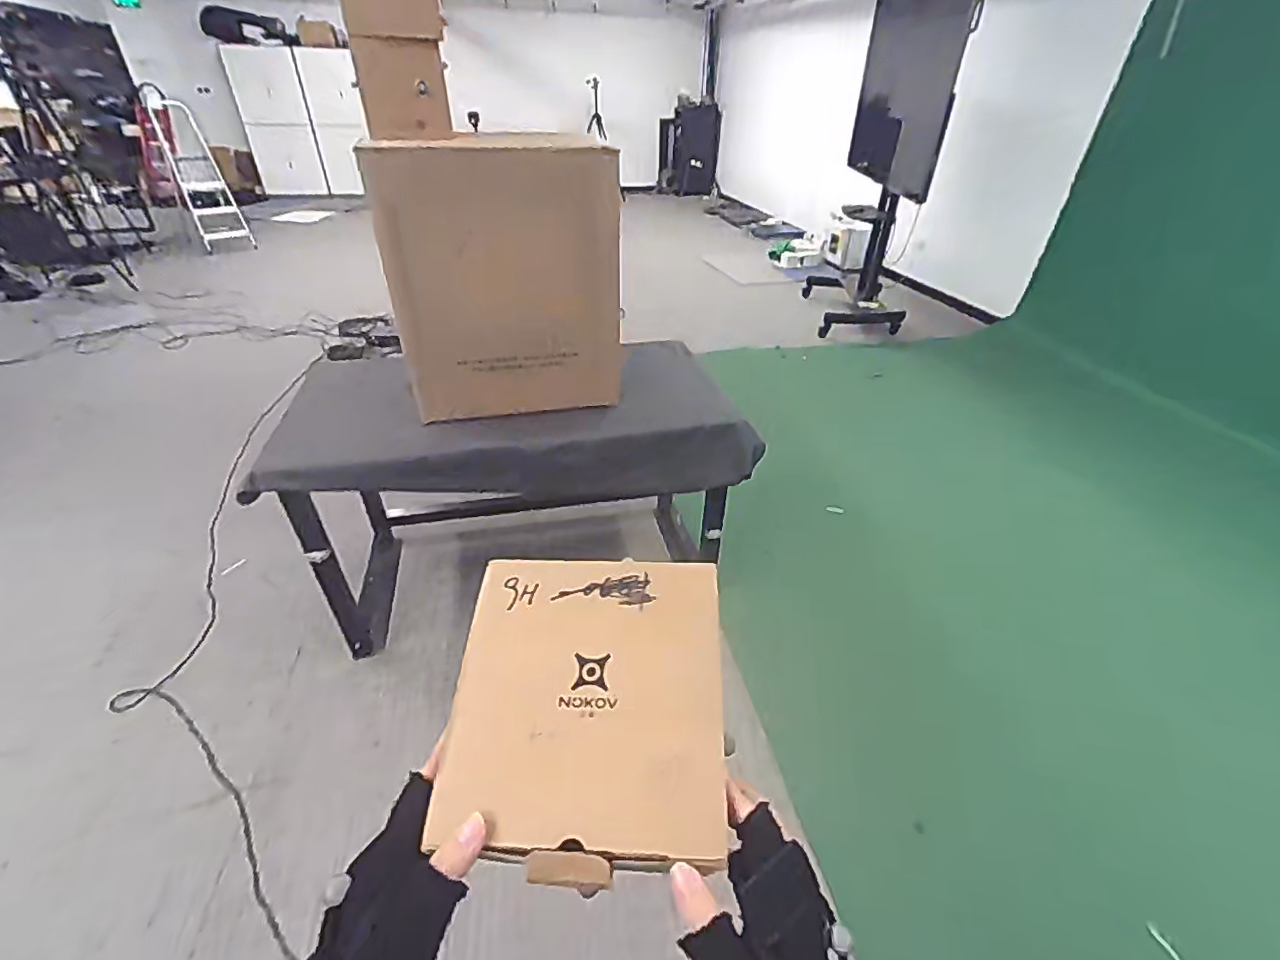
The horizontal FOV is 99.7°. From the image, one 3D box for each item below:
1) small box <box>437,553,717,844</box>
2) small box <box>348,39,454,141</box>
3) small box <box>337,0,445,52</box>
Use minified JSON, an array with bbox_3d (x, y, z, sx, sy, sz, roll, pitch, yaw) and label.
[{"bbox_3d":[-0.026,0.170,0.414,0.168,0.176,0.179,-1,54,5],"label":"small box"},{"bbox_3d":[-0.496,-0.815,1.130,0.168,0.176,0.179,-14,41,-18],"label":"small box"},{"bbox_3d":[-0.479,-0.928,1.036,0.179,0.176,0.168,-9,39,-12],"label":"small box"}]
